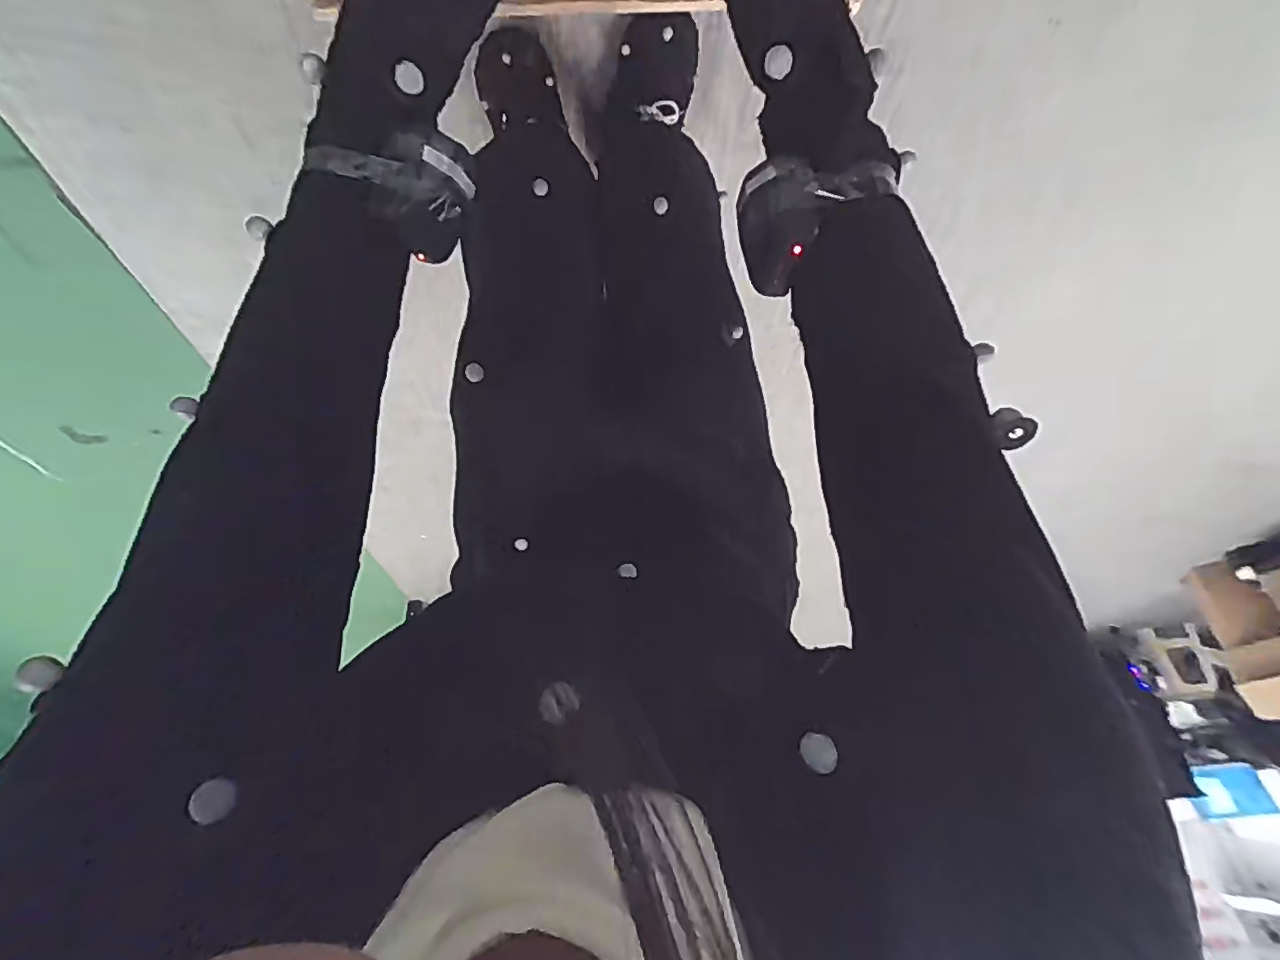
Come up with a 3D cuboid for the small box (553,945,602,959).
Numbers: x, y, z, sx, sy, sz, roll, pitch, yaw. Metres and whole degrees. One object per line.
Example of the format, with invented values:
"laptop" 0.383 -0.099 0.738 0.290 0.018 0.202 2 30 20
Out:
"small box" -0.236 1.876 2.036 0.179 0.176 0.168 -4 147 -1
